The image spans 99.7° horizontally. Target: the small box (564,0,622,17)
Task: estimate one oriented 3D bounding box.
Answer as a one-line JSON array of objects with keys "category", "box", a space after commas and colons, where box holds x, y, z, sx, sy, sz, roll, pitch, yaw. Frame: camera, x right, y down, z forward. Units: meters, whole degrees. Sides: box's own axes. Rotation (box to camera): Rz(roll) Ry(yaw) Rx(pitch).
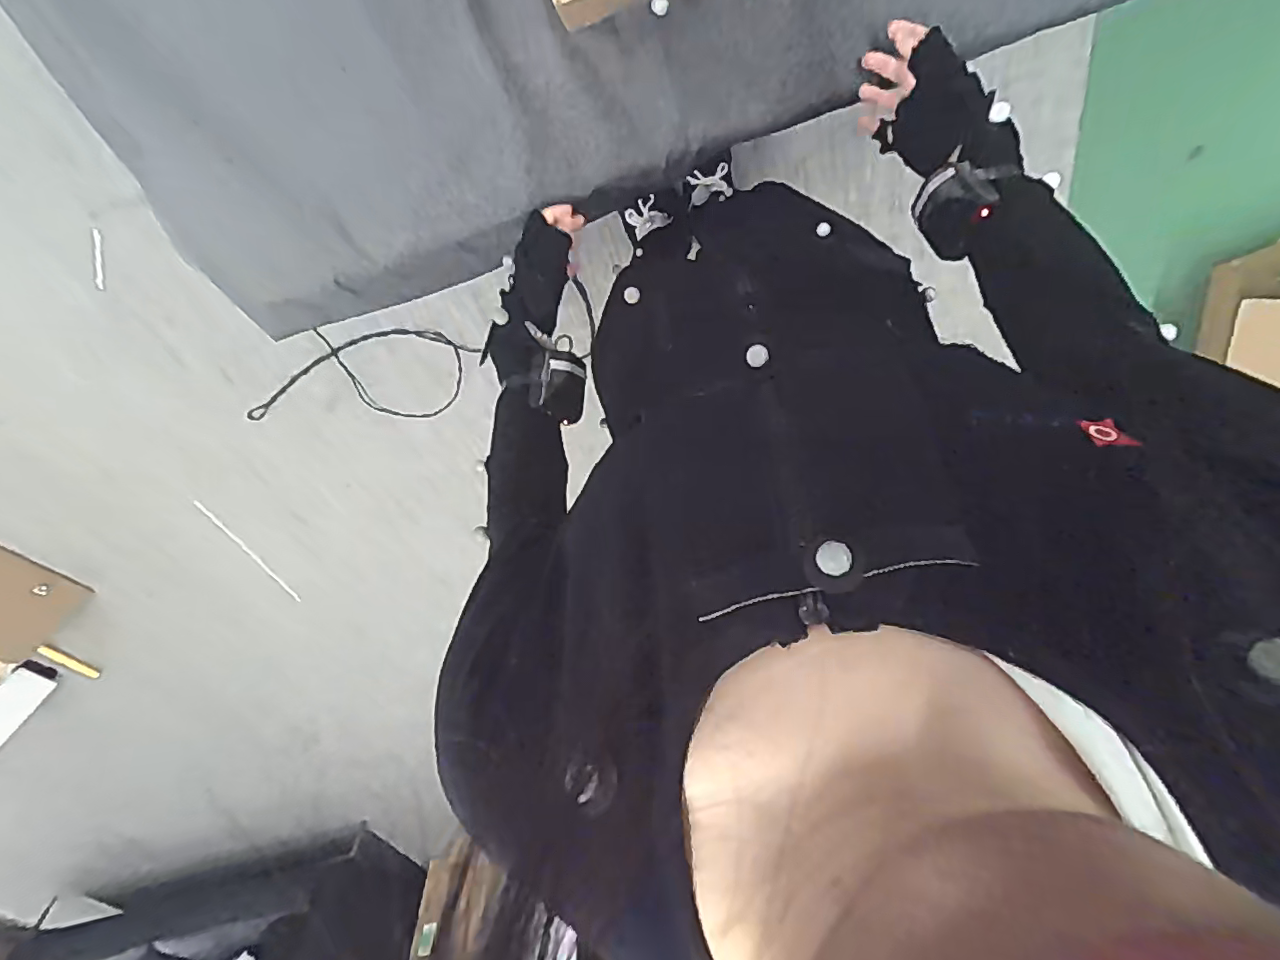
[{"category": "small box", "box": [-0.011, -0.465, 0.375, 0.168, 0.176, 0.179, -15, 126, 8]}]
